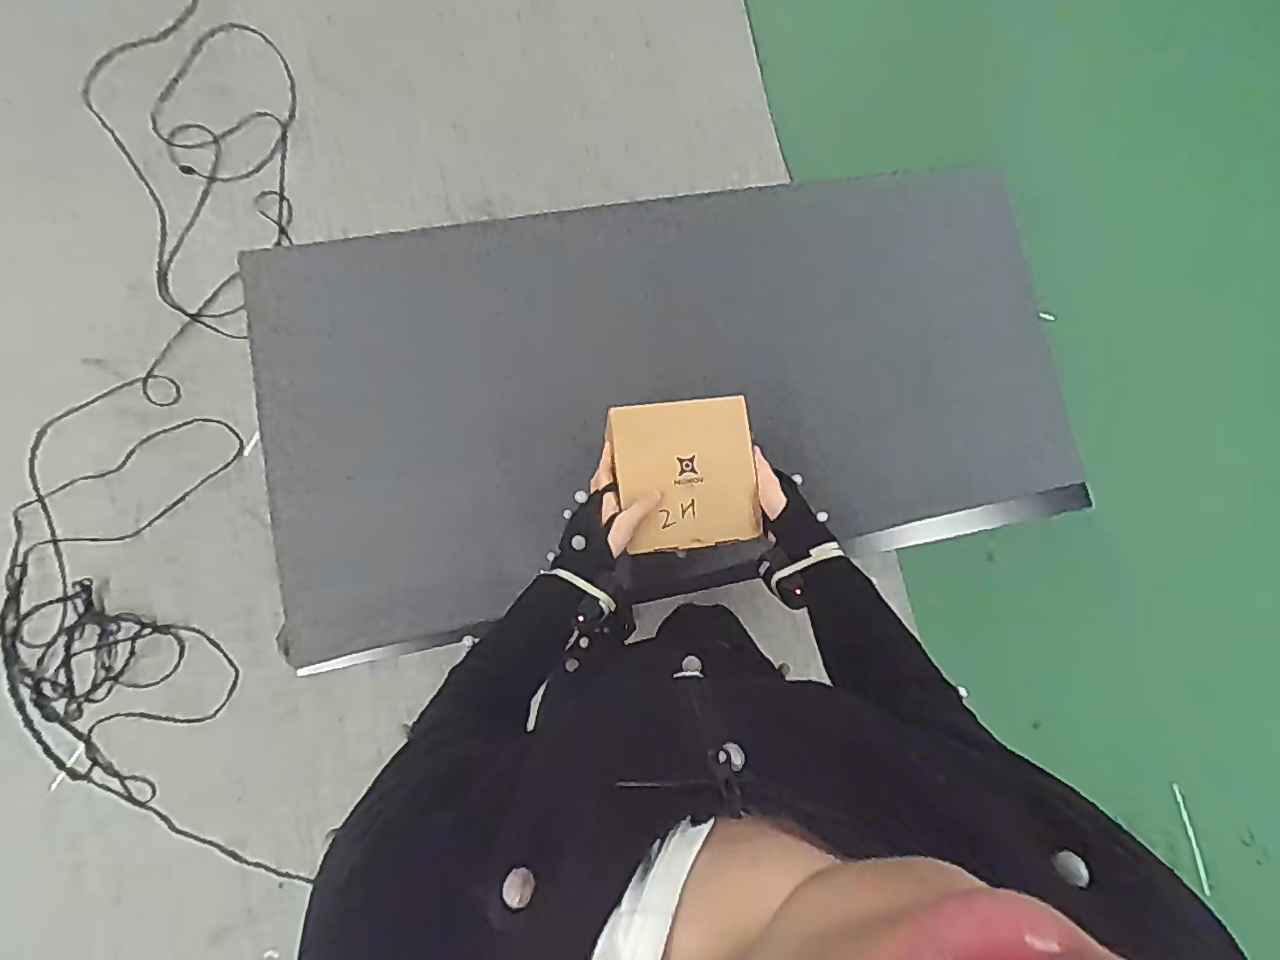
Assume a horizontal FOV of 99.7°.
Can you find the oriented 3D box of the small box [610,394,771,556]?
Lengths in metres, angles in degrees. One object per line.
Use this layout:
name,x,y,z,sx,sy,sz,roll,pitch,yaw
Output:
small box,0.053,0.003,0.697,0.168,0.176,0.179,-7,83,-5
